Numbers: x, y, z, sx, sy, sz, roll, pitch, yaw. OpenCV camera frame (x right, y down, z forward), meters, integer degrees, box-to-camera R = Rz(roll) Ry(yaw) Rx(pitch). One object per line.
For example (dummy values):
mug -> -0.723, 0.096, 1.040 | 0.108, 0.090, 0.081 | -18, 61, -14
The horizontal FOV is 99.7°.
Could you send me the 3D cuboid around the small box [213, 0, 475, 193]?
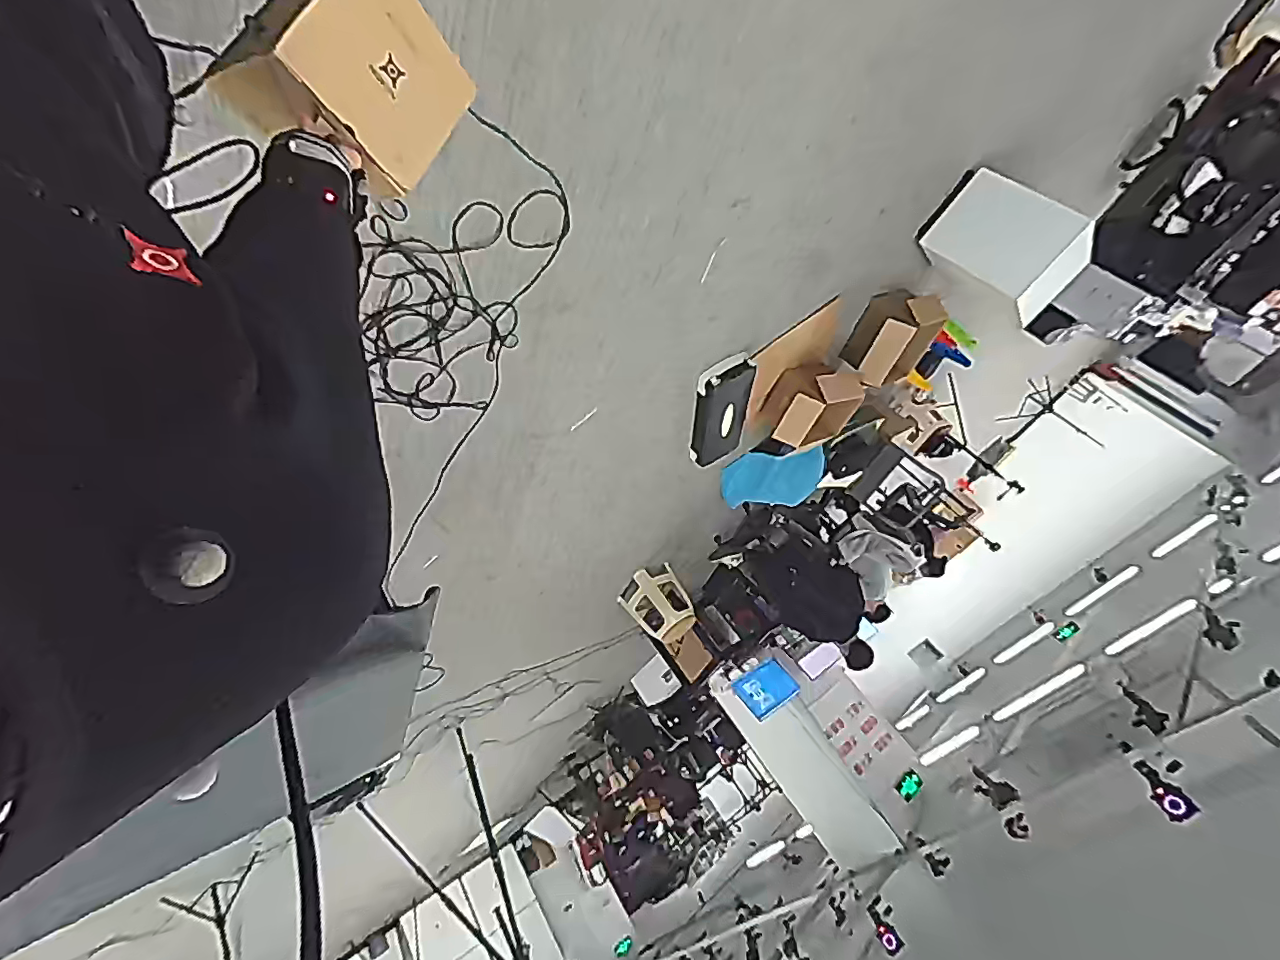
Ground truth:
small box -> -0.330, -0.451, 0.607 | 0.168, 0.176, 0.179 | 46, 63, -56
